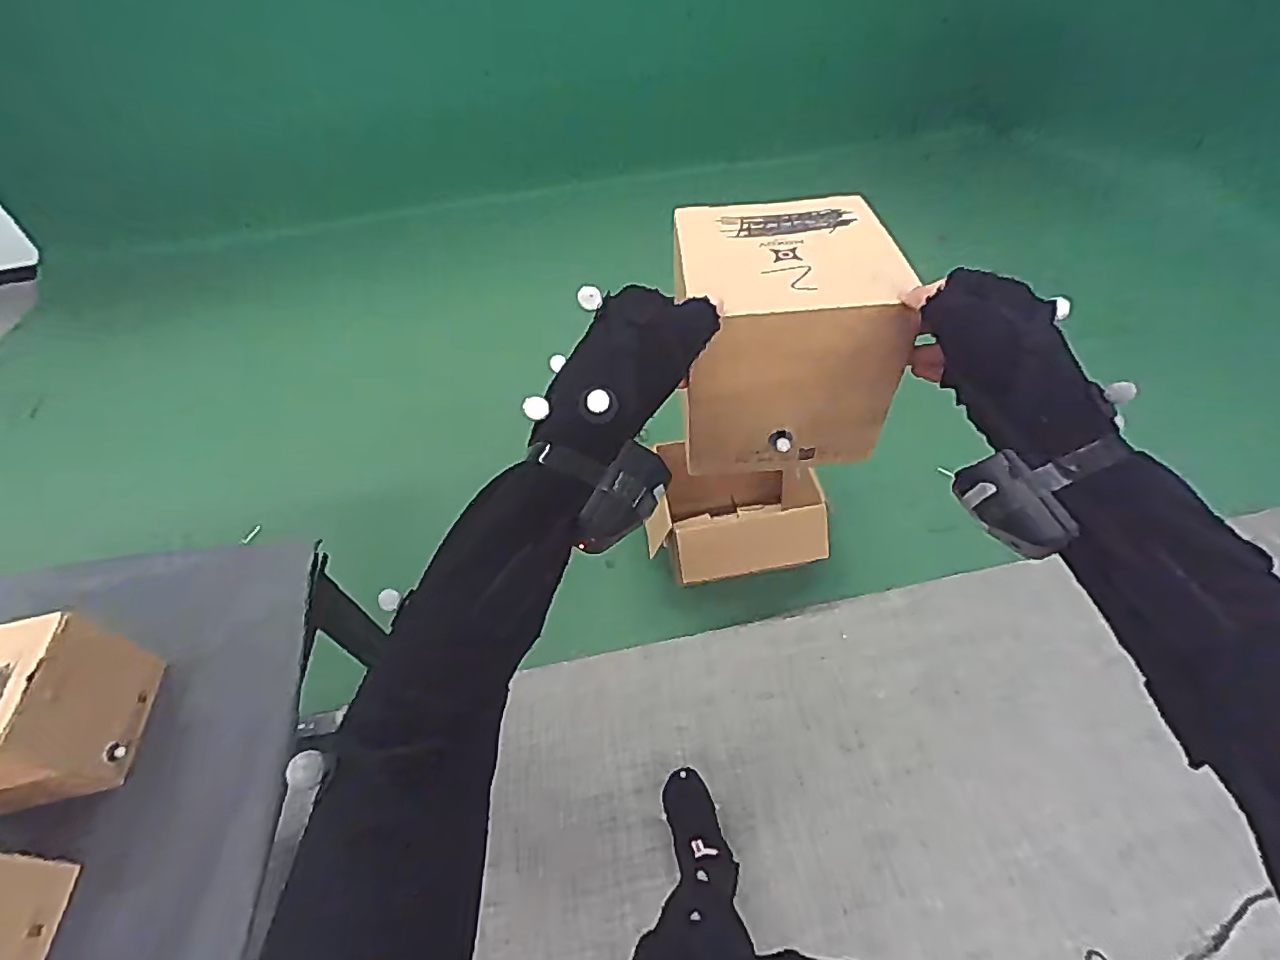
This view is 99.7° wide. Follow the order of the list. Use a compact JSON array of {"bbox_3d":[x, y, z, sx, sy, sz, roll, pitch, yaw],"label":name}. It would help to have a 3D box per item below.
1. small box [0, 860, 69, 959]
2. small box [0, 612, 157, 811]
[{"bbox_3d":[-0.719,0.468,0.503,0.179,0.176,0.168,-12,50,-4],"label":"small box"},{"bbox_3d":[-0.757,0.286,0.656,0.179,0.176,0.168,-12,50,-3],"label":"small box"}]
